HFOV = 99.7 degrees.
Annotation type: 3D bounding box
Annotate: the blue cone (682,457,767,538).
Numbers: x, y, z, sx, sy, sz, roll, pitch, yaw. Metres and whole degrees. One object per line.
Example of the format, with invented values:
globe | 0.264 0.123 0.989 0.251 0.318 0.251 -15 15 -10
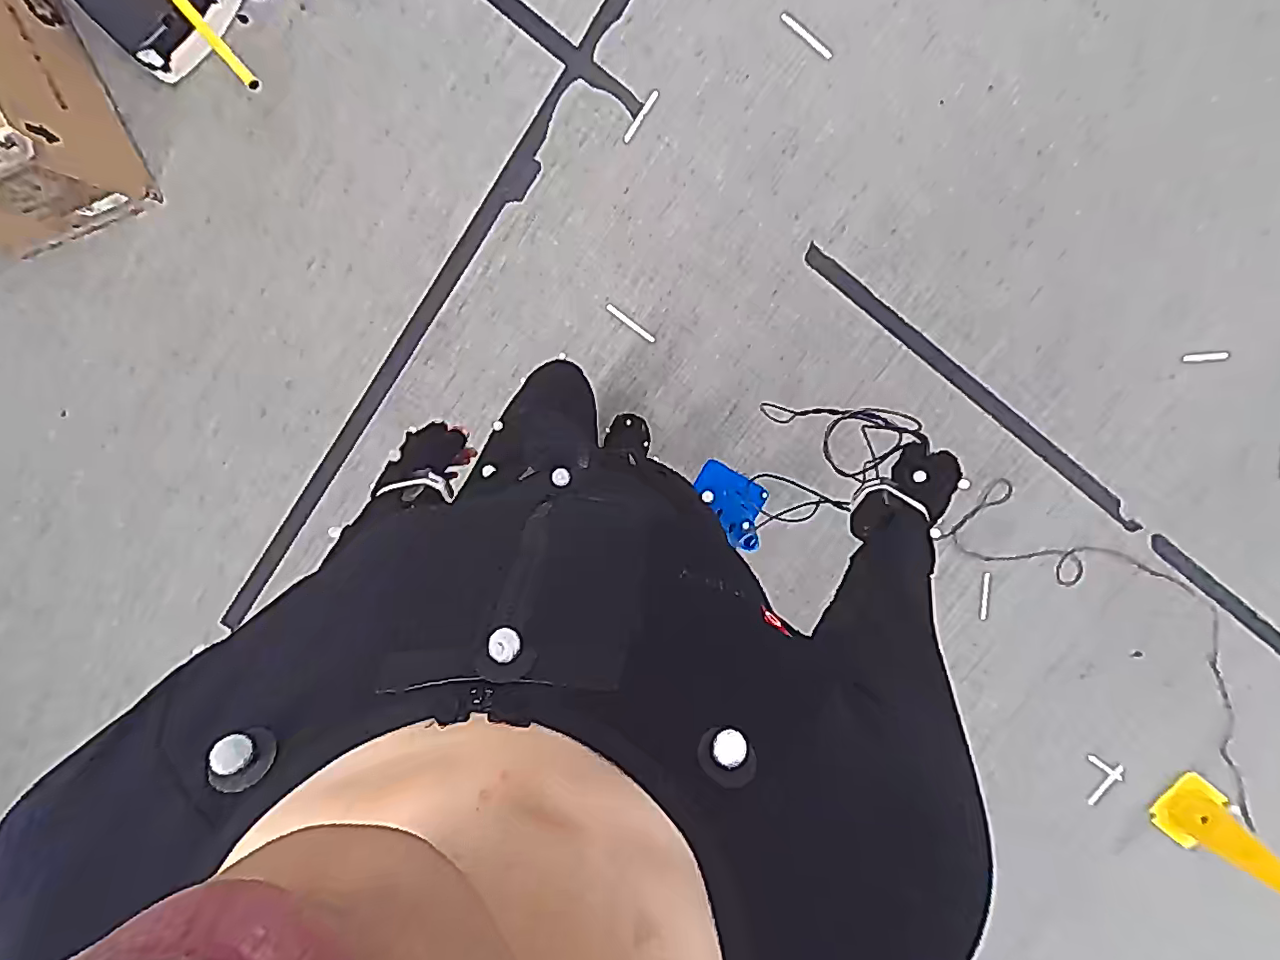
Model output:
blue cone | 0.232 0.078 1.312 0.193 0.380 0.192 31 97 -6
